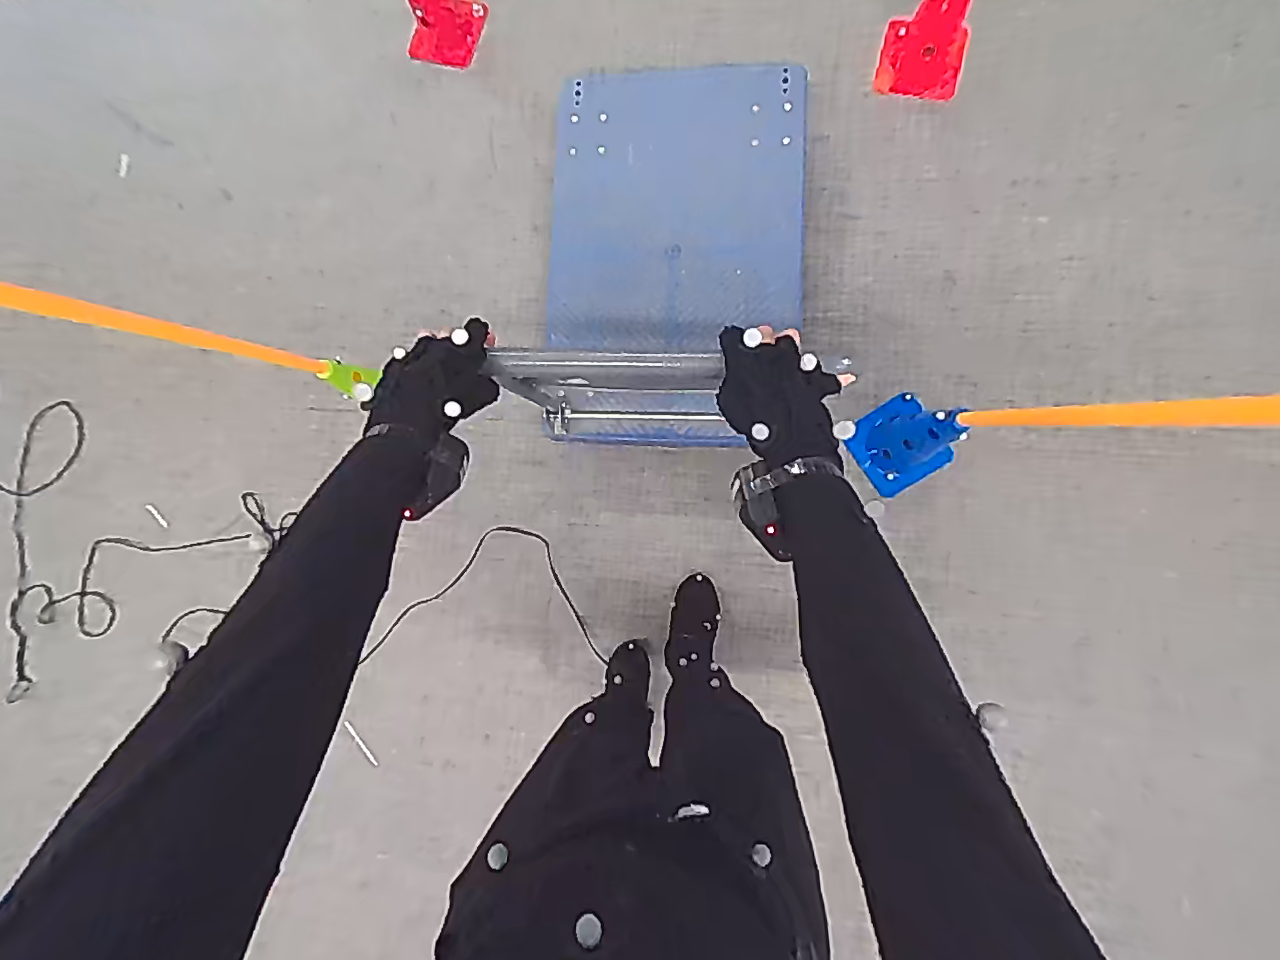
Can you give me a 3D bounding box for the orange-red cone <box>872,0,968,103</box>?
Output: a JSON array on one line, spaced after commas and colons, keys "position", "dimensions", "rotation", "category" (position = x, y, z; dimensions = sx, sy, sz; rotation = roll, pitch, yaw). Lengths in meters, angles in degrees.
[{"position": [0.681, -1.069, 1.198], "dimensions": [0.198, 0.360, 0.199], "rotation": [15, 88, 9], "category": "orange-red cone"}]
